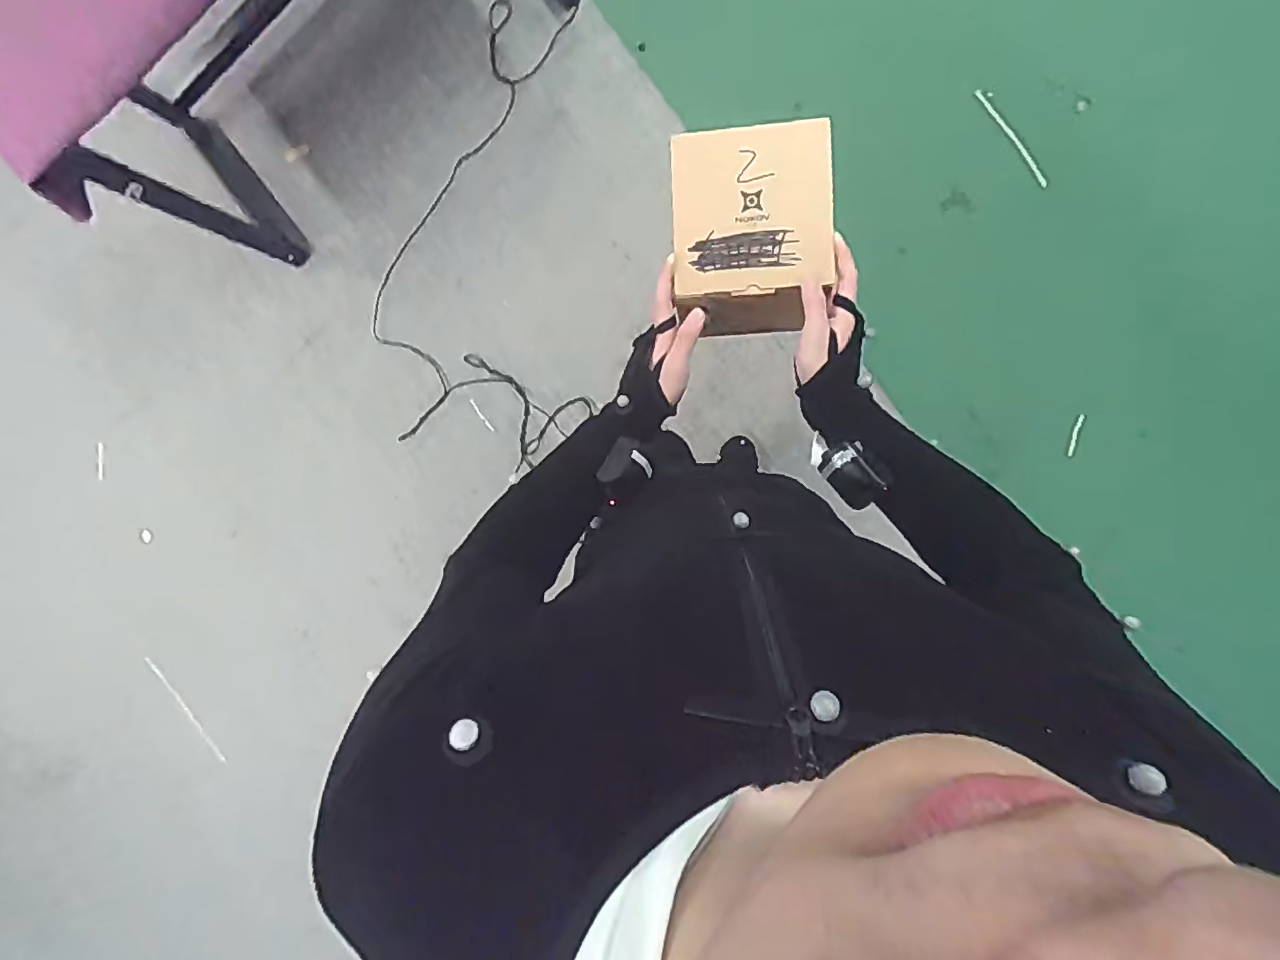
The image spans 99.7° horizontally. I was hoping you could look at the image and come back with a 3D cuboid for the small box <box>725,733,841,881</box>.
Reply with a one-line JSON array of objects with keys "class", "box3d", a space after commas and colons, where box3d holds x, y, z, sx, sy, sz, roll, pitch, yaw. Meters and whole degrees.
[{"class": "small box", "box3d": [0.295, 0.686, 1.152, 0.168, 0.176, 0.179, -33, 90, 9]}]
